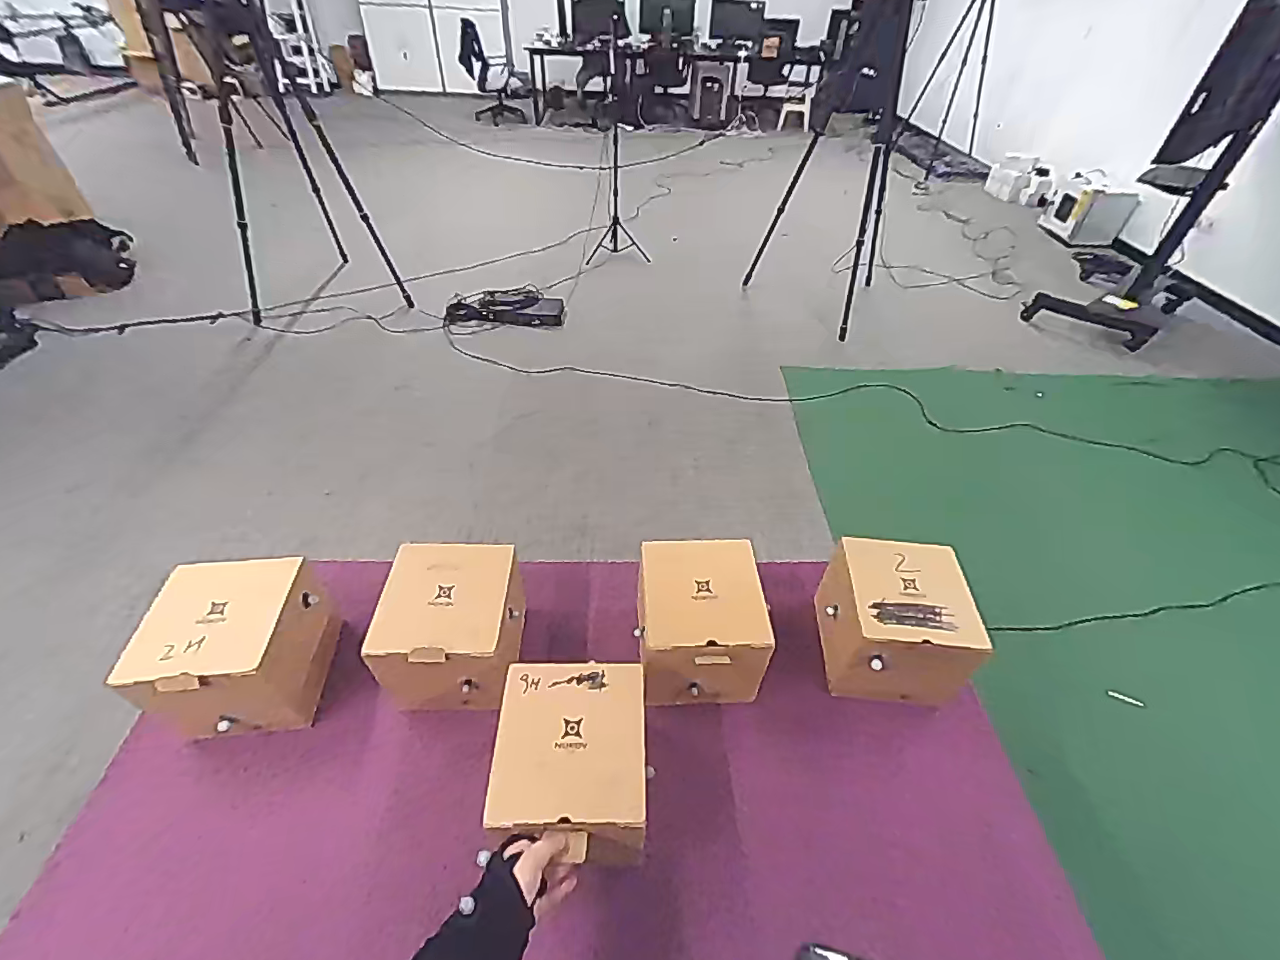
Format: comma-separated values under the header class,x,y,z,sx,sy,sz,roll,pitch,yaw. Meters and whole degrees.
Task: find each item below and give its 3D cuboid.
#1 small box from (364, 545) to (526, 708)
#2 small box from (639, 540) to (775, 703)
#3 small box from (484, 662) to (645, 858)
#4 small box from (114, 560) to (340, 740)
class,x,y,z,sx,sy,sz,roll,pitch,yaw
small box,-0.263,0.214,0.781,0.168,0.176,0.179,1,44,-3
small box,0.086,0.208,0.801,0.168,0.176,0.179,-1,44,-3
small box,-0.077,0.341,0.655,0.168,0.176,0.179,1,44,-1
small box,-0.542,0.234,0.748,0.168,0.176,0.179,-3,45,-6
